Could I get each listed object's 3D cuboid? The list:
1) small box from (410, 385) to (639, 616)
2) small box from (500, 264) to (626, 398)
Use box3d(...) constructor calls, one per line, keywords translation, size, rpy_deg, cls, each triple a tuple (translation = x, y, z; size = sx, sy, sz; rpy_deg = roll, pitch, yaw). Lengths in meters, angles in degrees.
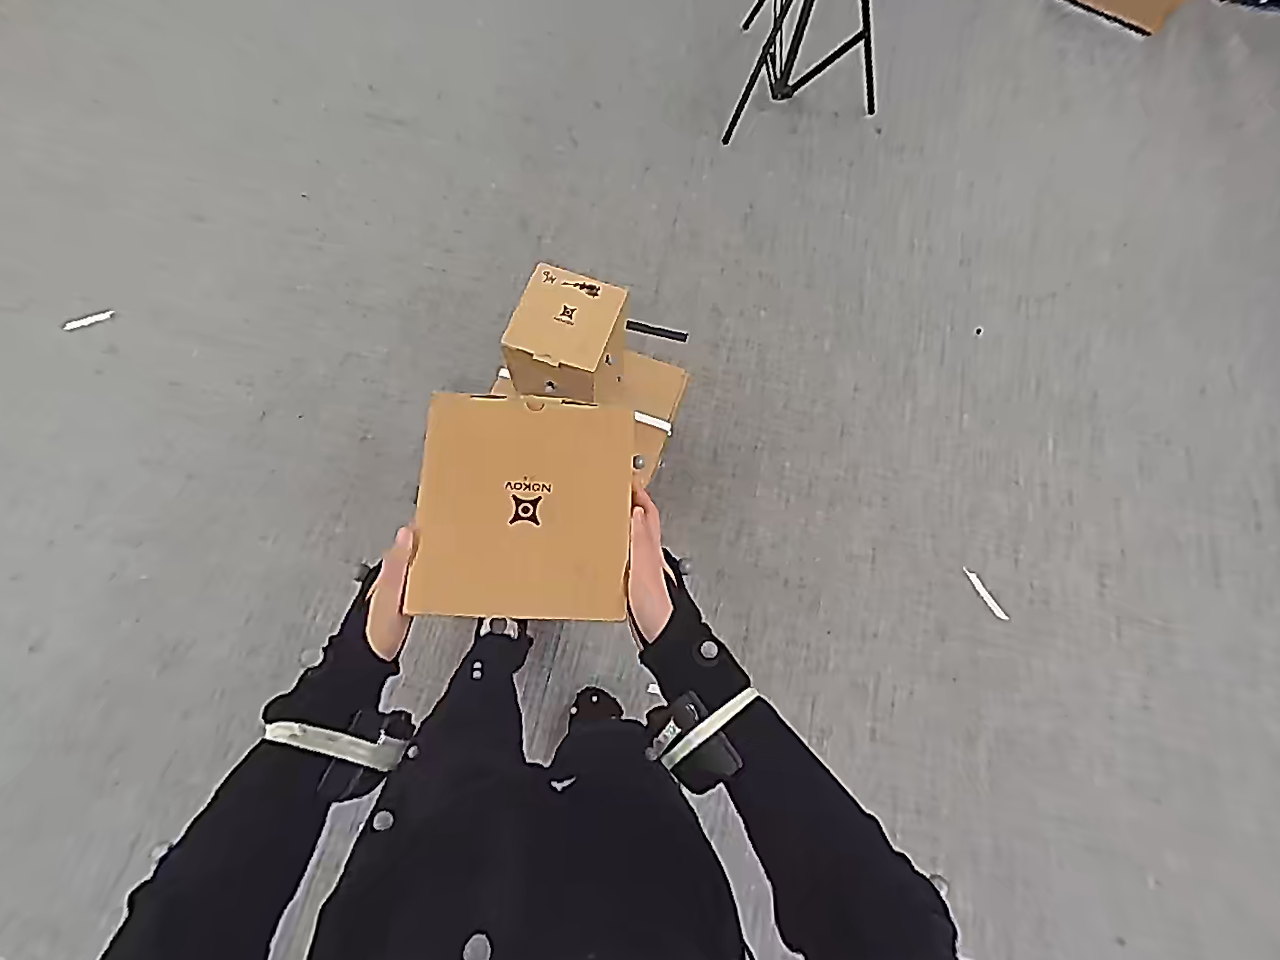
box3d(translation=(-0.094, 0.031, 0.499), size=(0.168, 0.176, 0.179), rpy_deg=(4, 76, -7), cls="small box")
box3d(translation=(-0.130, -0.245, 0.976), size=(0.168, 0.176, 0.179), rpy_deg=(19, 73, 2), cls="small box")
